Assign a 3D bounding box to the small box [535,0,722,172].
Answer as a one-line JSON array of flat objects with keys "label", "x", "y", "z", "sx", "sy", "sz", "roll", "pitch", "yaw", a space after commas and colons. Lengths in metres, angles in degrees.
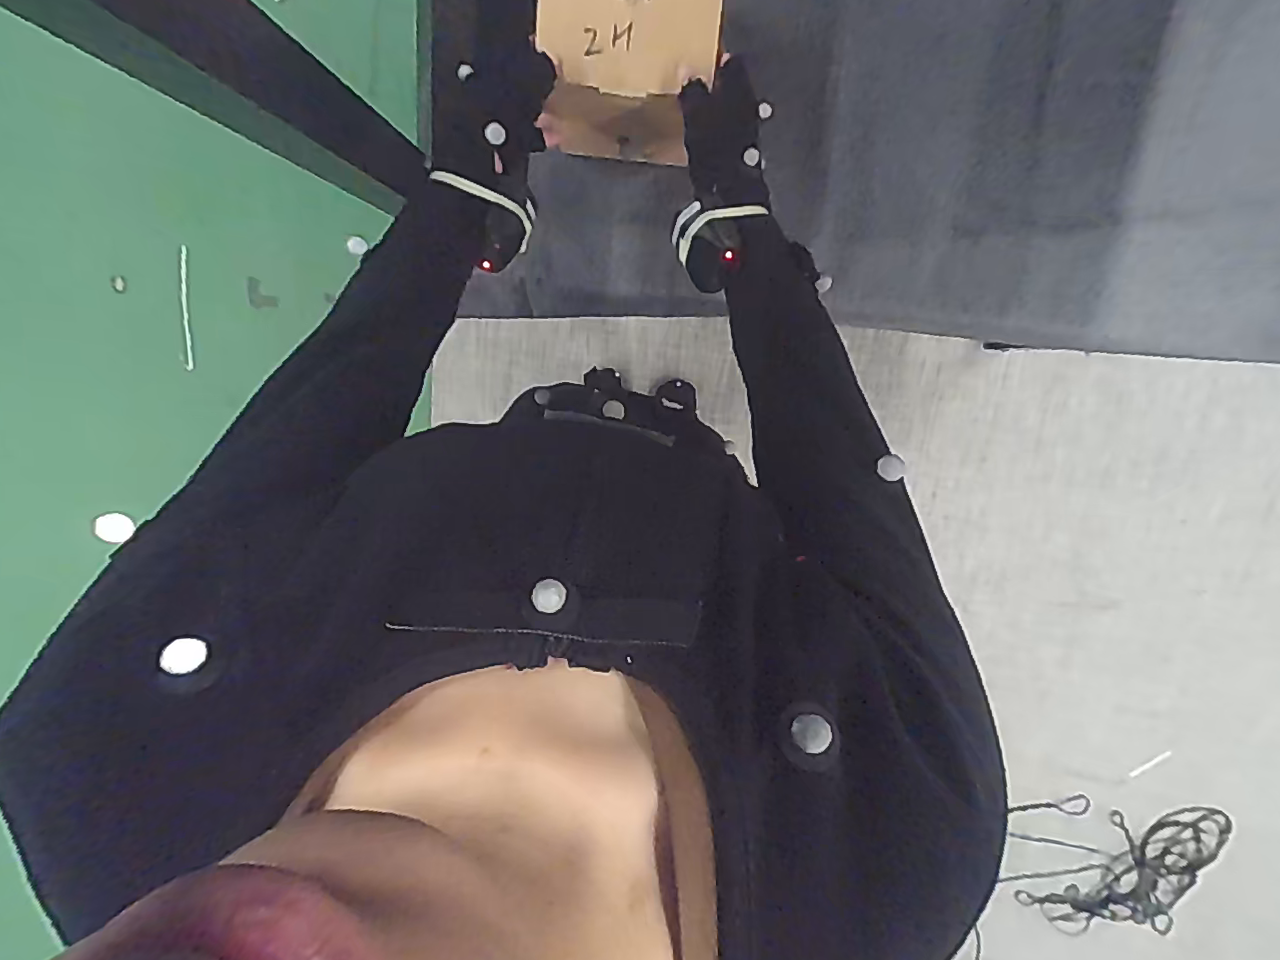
[{"label": "small box", "x": -0.007, "y": -0.453, "z": 0.563, "sx": 0.168, "sy": 0.176, "sz": 0.179, "roll": 6, "pitch": 102, "yaw": 0}]
